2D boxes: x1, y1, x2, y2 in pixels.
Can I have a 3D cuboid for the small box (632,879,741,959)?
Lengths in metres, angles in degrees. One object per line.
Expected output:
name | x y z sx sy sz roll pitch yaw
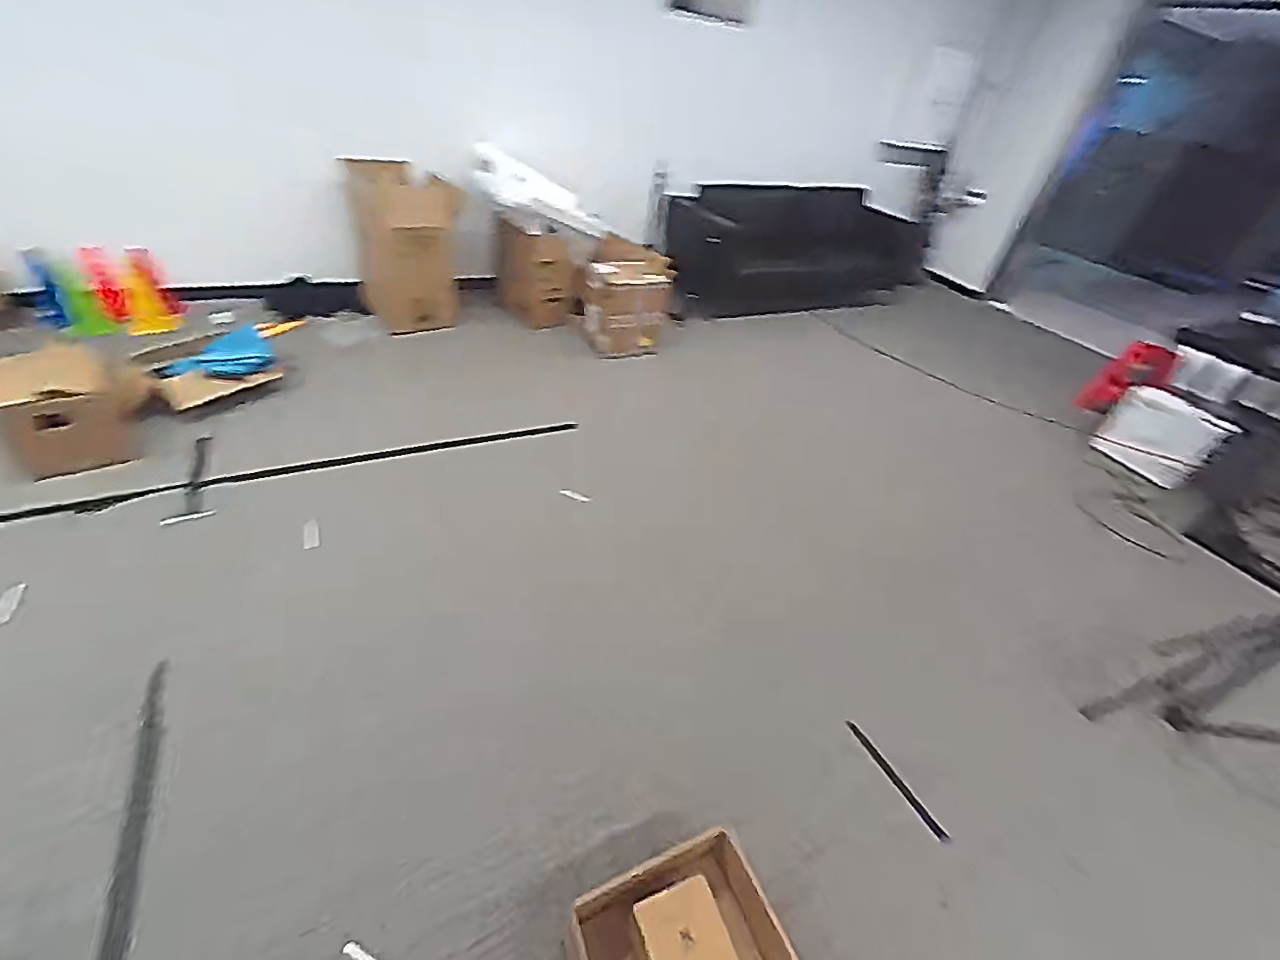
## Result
small box | 0.093 0.975 1.112 0.168 0.176 0.179 -8 41 -22
